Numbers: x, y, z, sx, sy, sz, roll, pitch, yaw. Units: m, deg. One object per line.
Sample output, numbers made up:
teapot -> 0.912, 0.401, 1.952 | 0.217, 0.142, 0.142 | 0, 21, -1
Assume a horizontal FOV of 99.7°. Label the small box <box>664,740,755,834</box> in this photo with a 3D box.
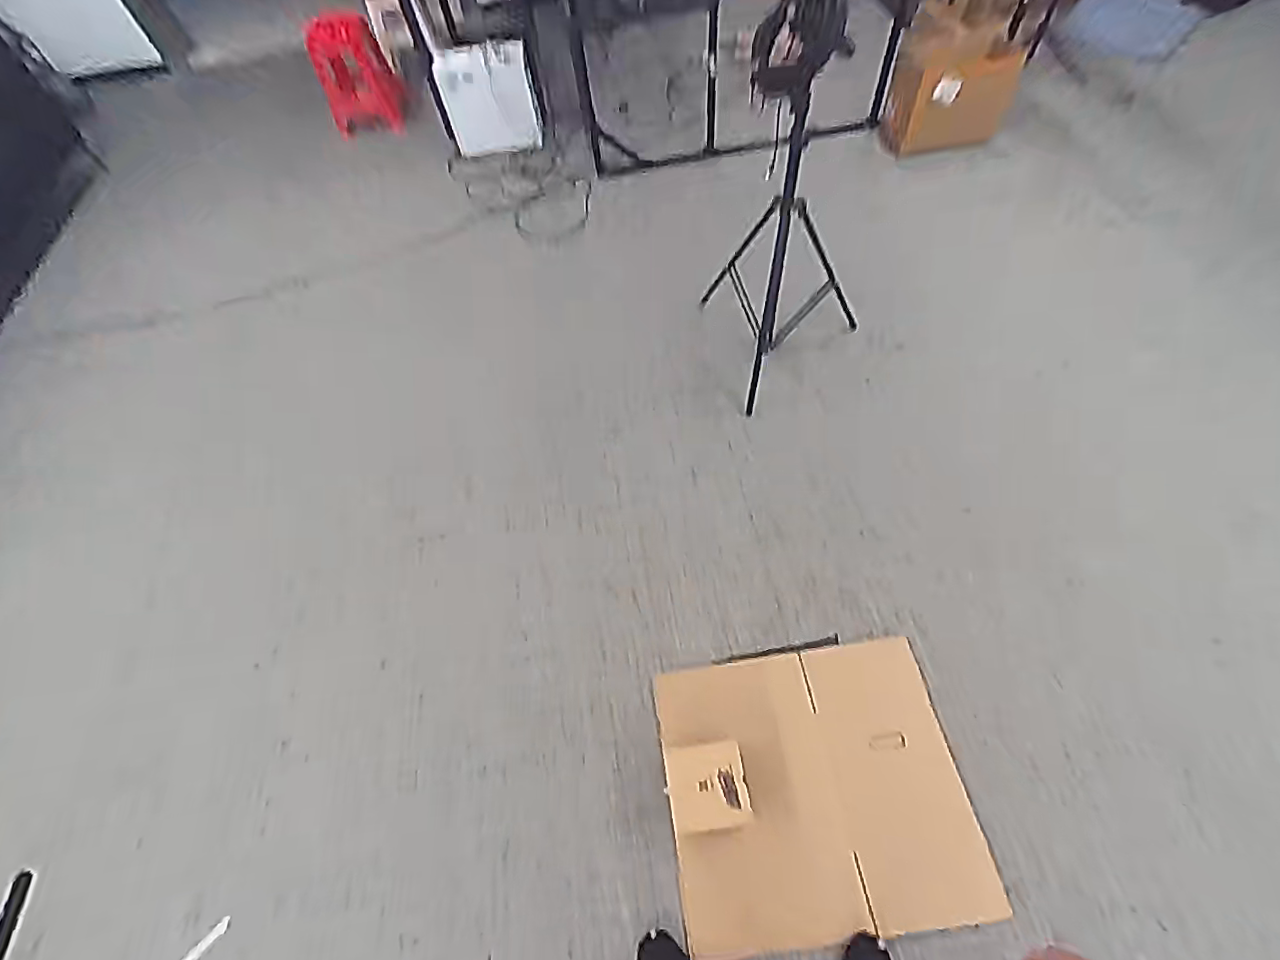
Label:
small box -> 0.157, 0.712, 1.259 | 0.179, 0.176, 0.168 | -10, 58, 2
